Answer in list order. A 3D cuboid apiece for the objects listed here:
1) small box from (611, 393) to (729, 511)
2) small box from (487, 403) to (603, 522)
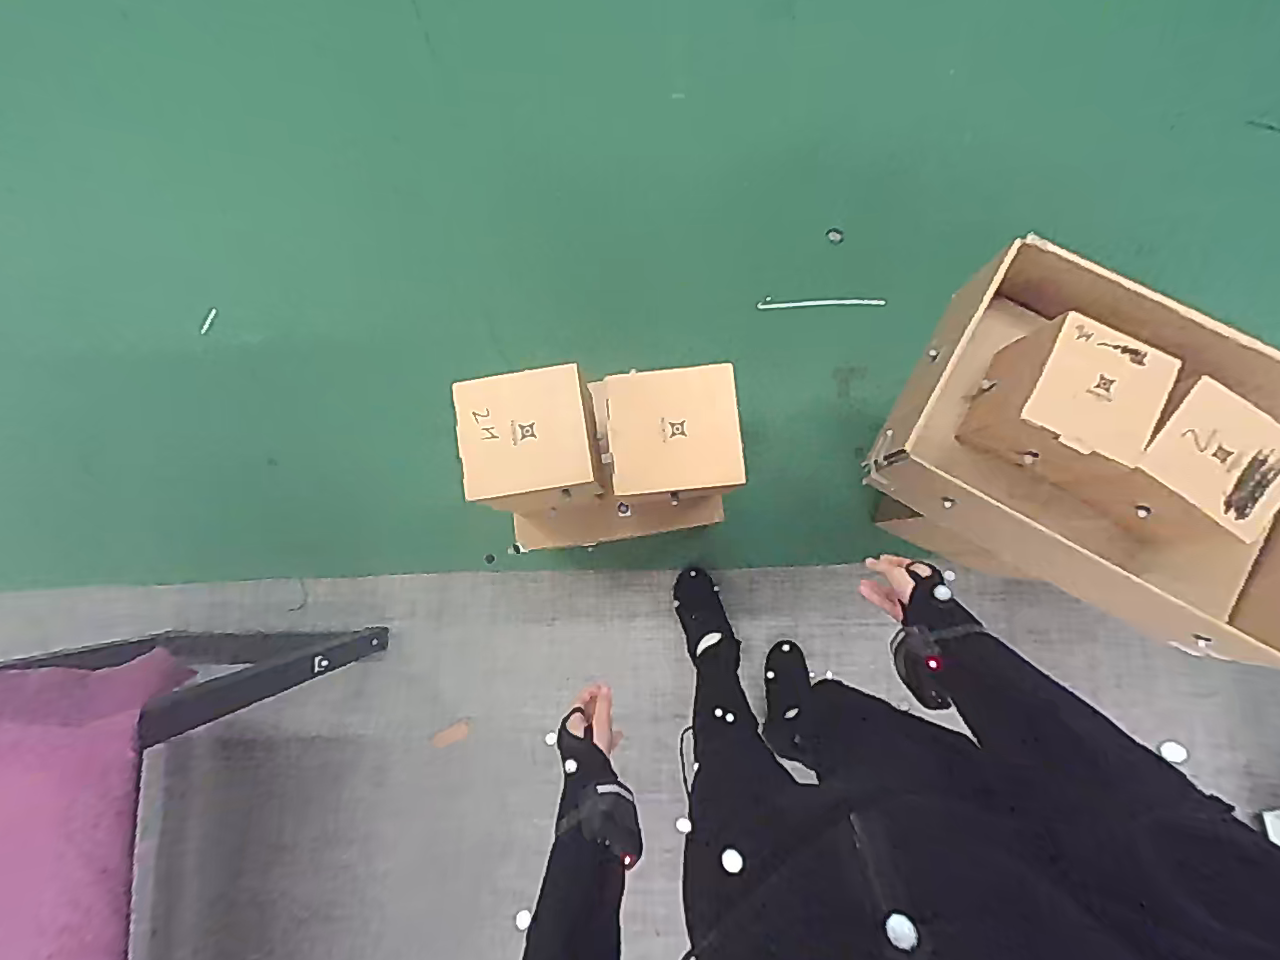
[{"bbox_3d":[0.054,-0.041,0.963,0.179,0.176,0.168,-9,83,2],"label":"small box"},{"bbox_3d":[-0.165,-0.024,0.973,0.168,0.176,0.179,-8,83,2],"label":"small box"}]
